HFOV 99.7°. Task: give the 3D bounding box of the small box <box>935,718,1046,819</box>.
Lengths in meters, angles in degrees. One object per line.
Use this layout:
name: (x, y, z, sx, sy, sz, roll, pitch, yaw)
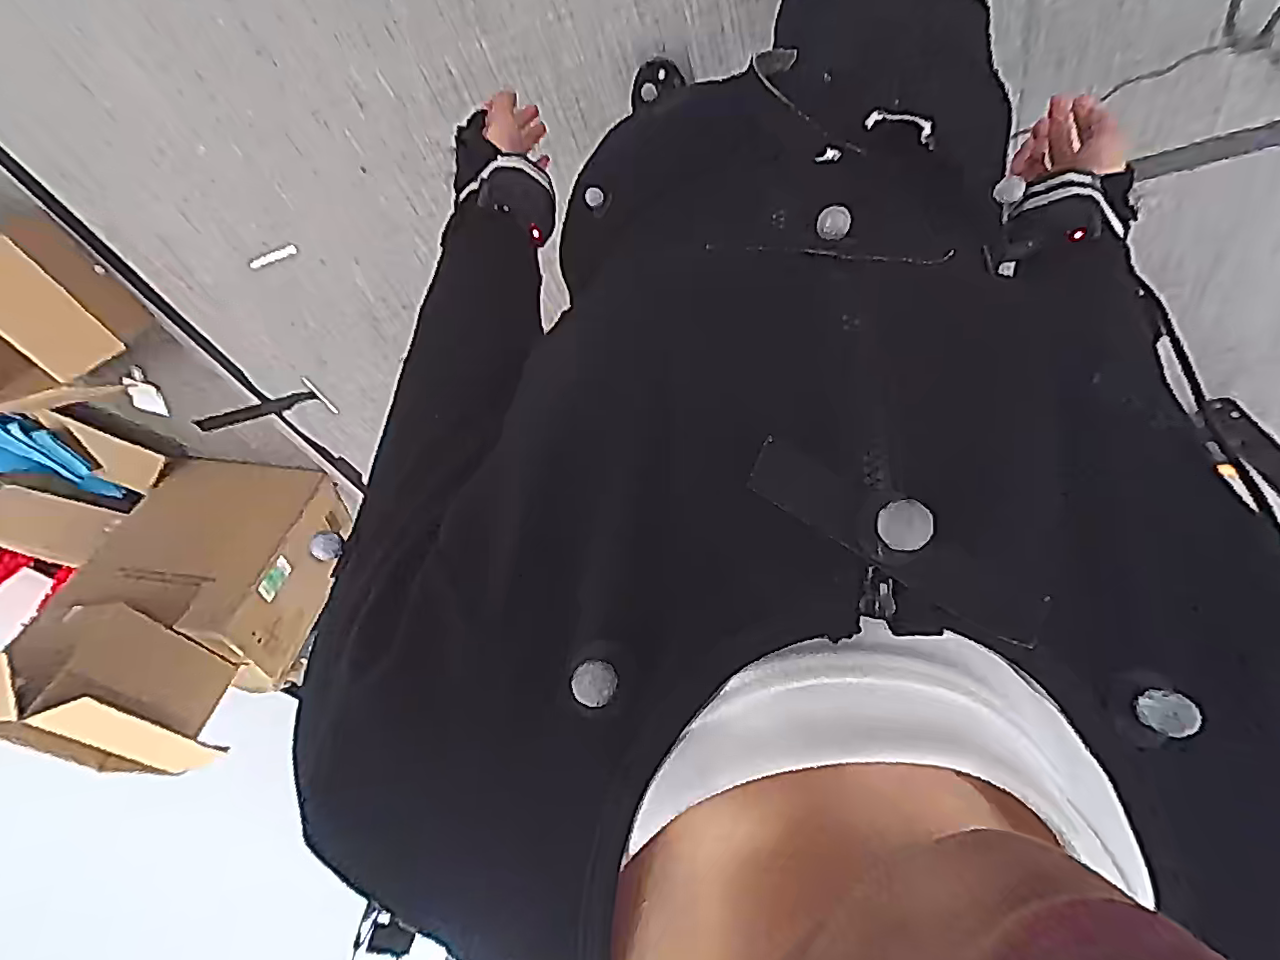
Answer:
small box: (0.800, 0.669, 1.256, 0.179, 0.176, 0.168, -13, 134, 19)
